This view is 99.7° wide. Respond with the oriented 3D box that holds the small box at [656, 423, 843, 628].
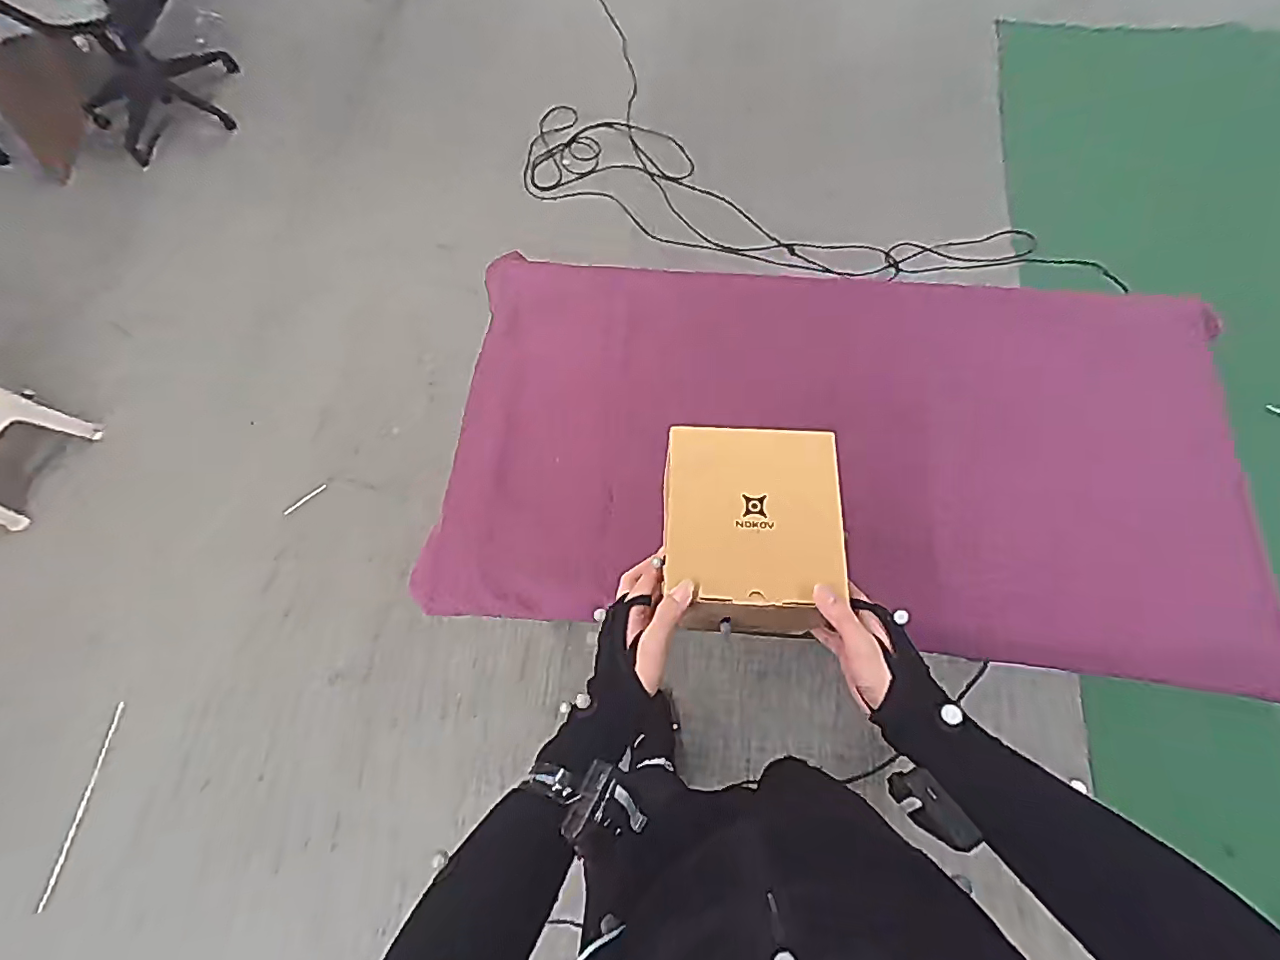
[{"bbox_3d":[0.105,0.057,0.586,0.168,0.176,0.179,3,69,2],"label":"small box"}]
